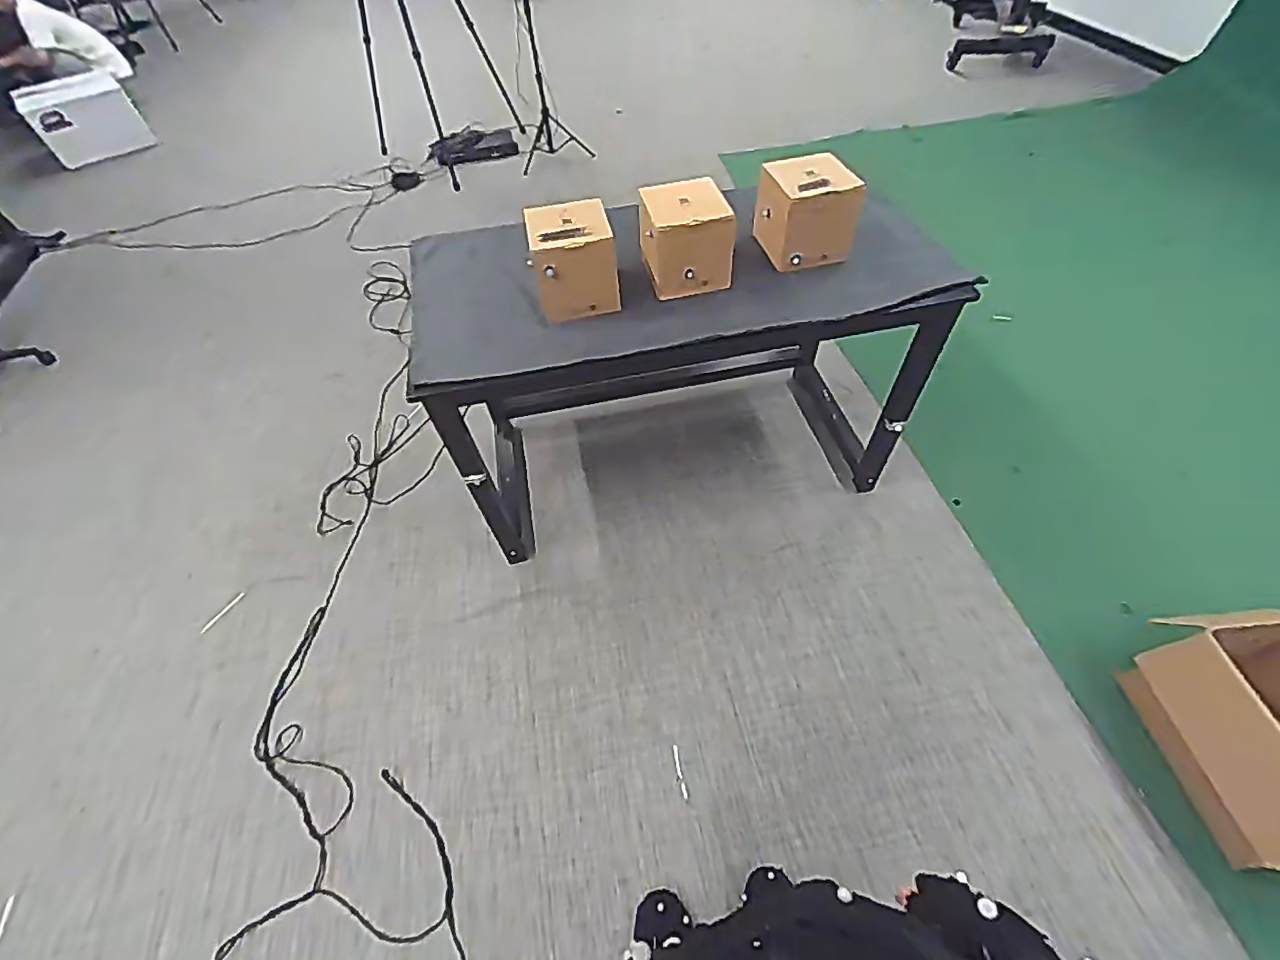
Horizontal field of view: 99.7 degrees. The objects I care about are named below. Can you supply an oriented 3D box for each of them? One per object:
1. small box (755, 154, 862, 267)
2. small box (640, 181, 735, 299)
[{"bbox_3d":[0.370,-0.601,1.223,0.168,0.176,0.179,-13,53,-5],"label":"small box"},{"bbox_3d":[0.099,-0.527,1.192,0.168,0.176,0.179,-12,54,-5],"label":"small box"}]
